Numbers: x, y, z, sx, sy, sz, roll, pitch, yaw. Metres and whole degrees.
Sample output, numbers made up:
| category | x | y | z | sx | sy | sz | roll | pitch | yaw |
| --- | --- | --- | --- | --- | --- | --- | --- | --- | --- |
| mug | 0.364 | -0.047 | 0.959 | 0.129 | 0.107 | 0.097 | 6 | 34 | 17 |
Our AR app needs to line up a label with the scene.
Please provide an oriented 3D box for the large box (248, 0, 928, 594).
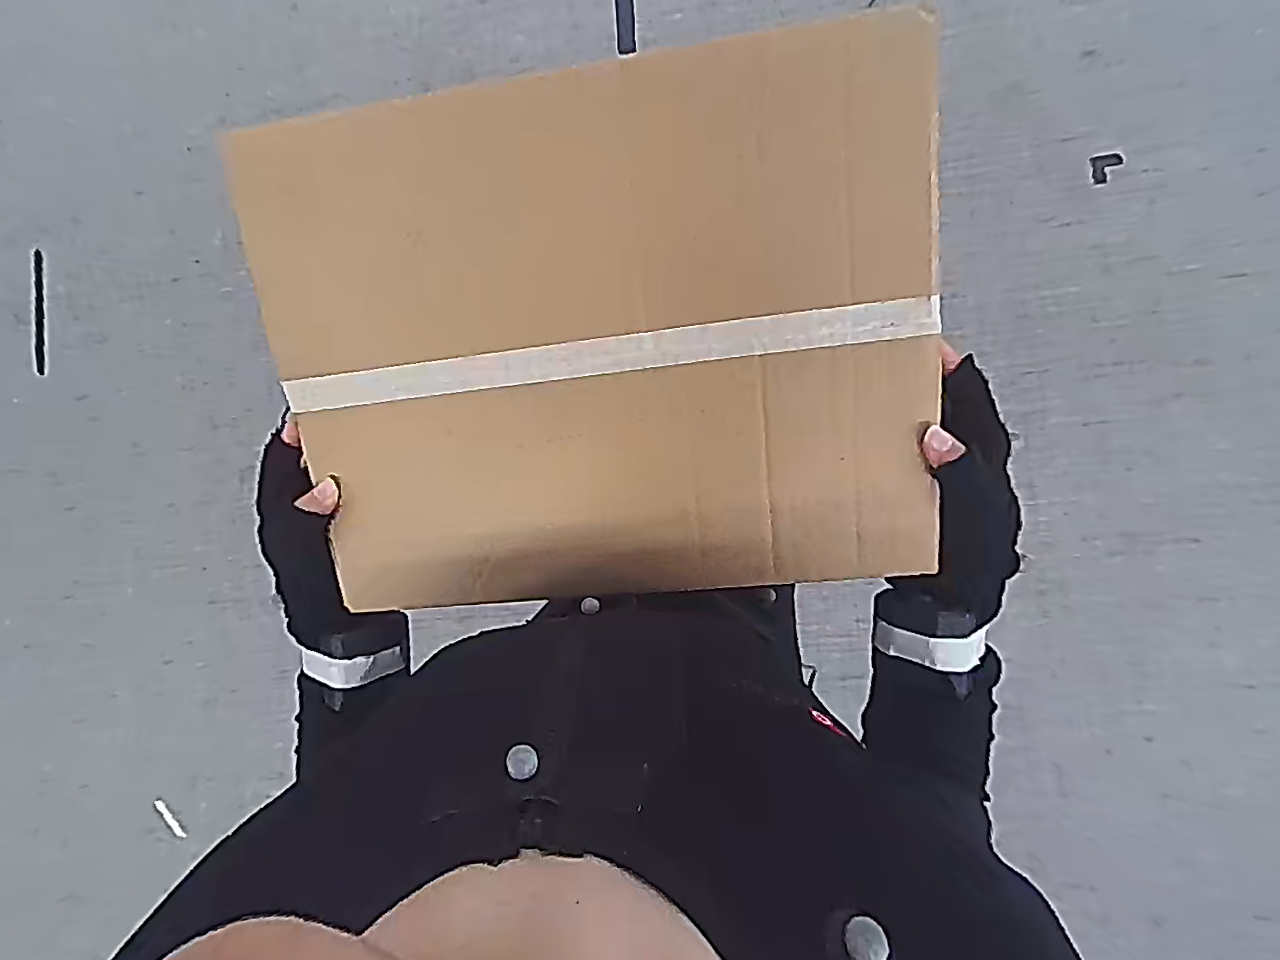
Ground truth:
| category | x | y | z | sx | sy | sz | roll | pitch | yaw |
| --- | --- | --- | --- | --- | --- | --- | --- | --- | --- |
| large box | -0.016 | -0.119 | 0.484 | 0.408 | 0.320 | 0.320 | -6 | 104 | 7 |
